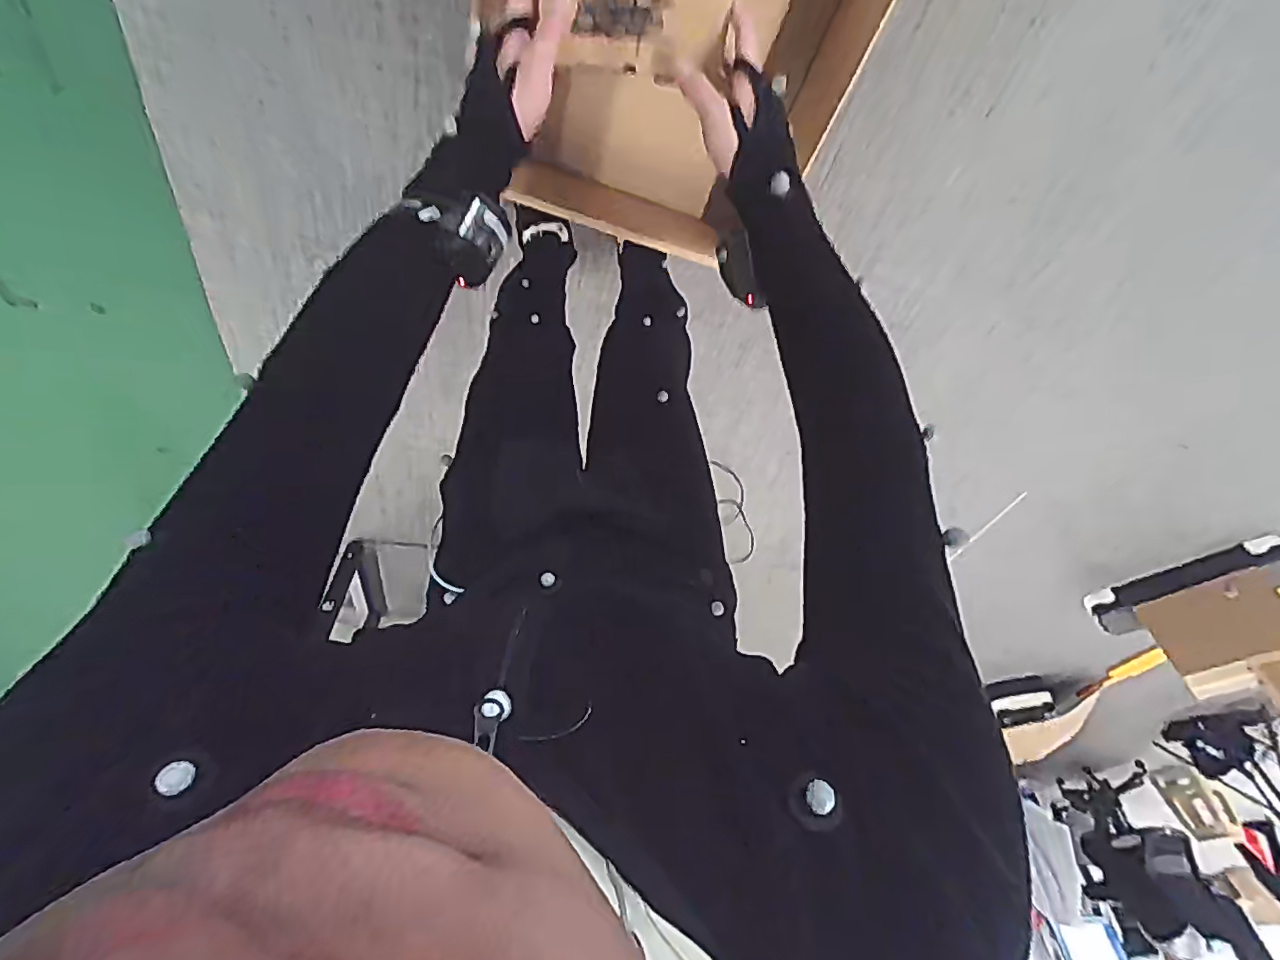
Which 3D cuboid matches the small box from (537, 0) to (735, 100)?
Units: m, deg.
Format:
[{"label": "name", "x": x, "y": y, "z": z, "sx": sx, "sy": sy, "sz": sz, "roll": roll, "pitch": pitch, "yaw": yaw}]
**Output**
[{"label": "small box", "x": 0.000, "y": -0.474, "z": 0.482, "sx": 0.168, "sy": 0.176, "sz": 0.179, "roll": 4, "pitch": 136, "yaw": -6}]
